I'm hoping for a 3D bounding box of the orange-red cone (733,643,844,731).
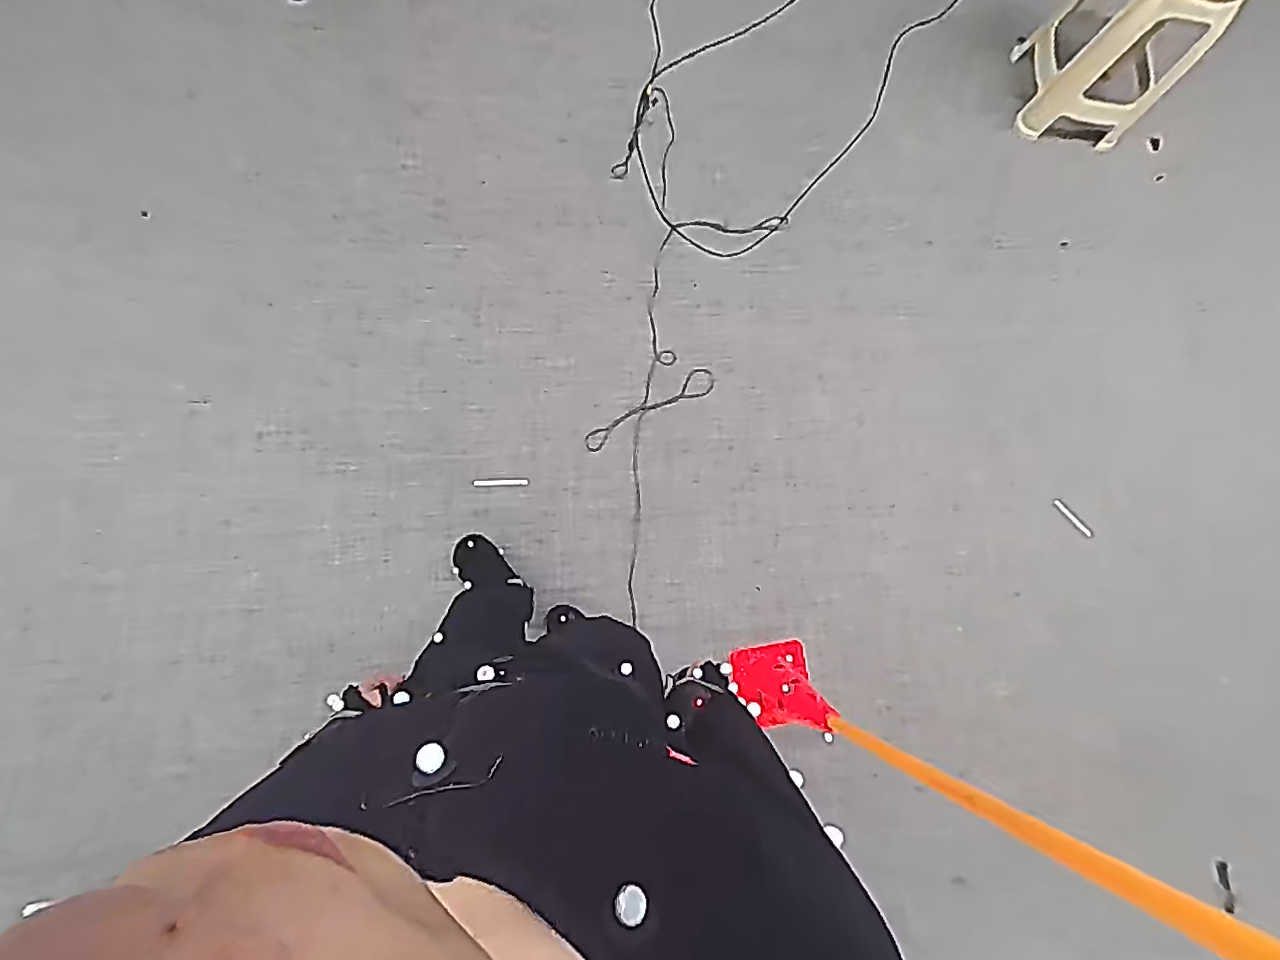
[{"bbox_3d":[0.353,0.489,1.195,0.199,0.360,0.198,-7,80,-6],"label":"orange-red cone"}]
